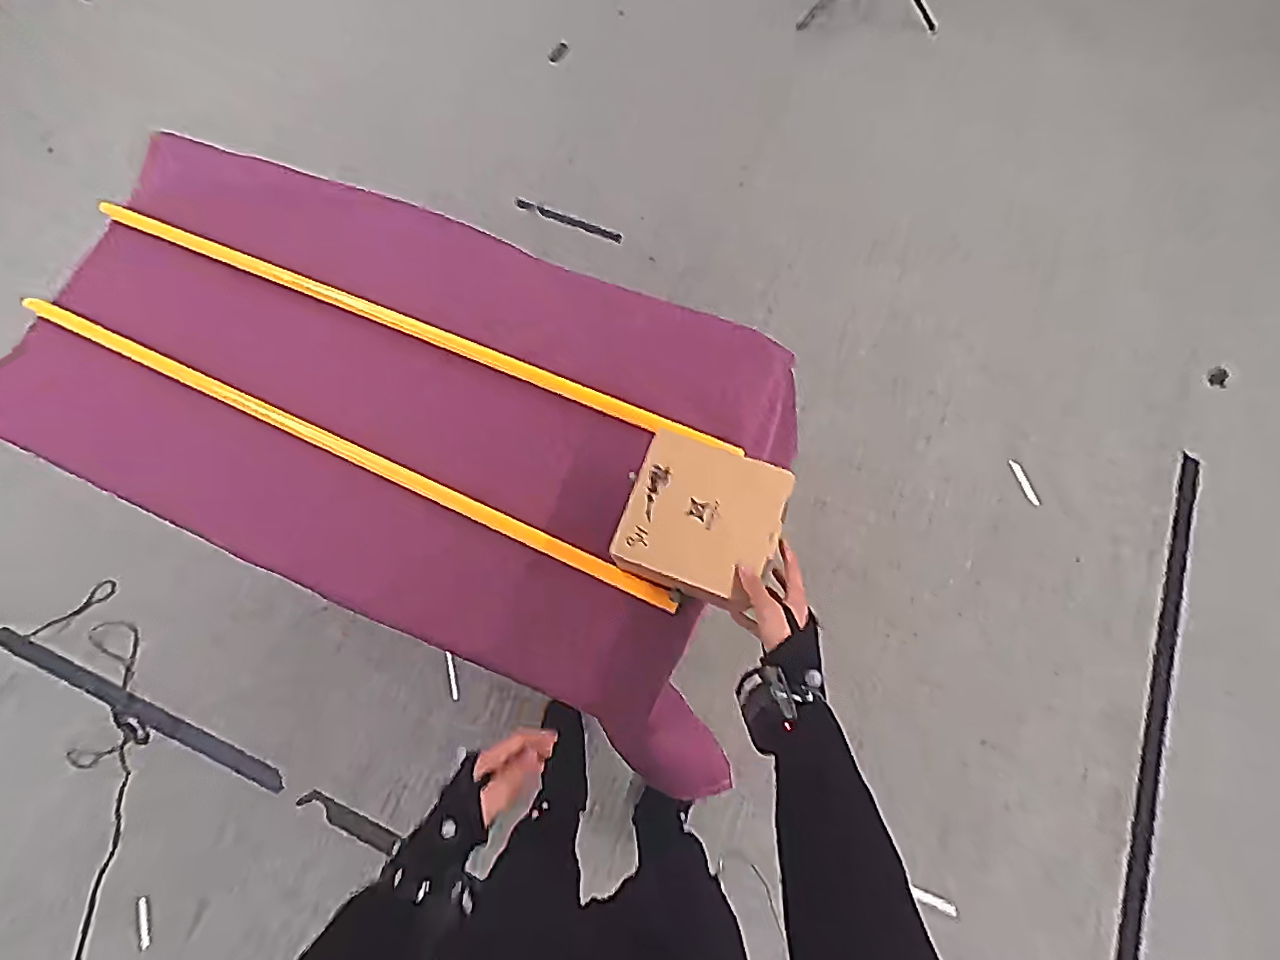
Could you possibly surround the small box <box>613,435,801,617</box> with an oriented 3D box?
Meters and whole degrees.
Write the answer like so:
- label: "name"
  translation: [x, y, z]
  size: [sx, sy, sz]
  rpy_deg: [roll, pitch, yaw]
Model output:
- label: "small box"
  translation: [0.082, 0.067, 0.698]
  size: [0.179, 0.176, 0.168]
  rpy_deg: [21, 76, 8]
